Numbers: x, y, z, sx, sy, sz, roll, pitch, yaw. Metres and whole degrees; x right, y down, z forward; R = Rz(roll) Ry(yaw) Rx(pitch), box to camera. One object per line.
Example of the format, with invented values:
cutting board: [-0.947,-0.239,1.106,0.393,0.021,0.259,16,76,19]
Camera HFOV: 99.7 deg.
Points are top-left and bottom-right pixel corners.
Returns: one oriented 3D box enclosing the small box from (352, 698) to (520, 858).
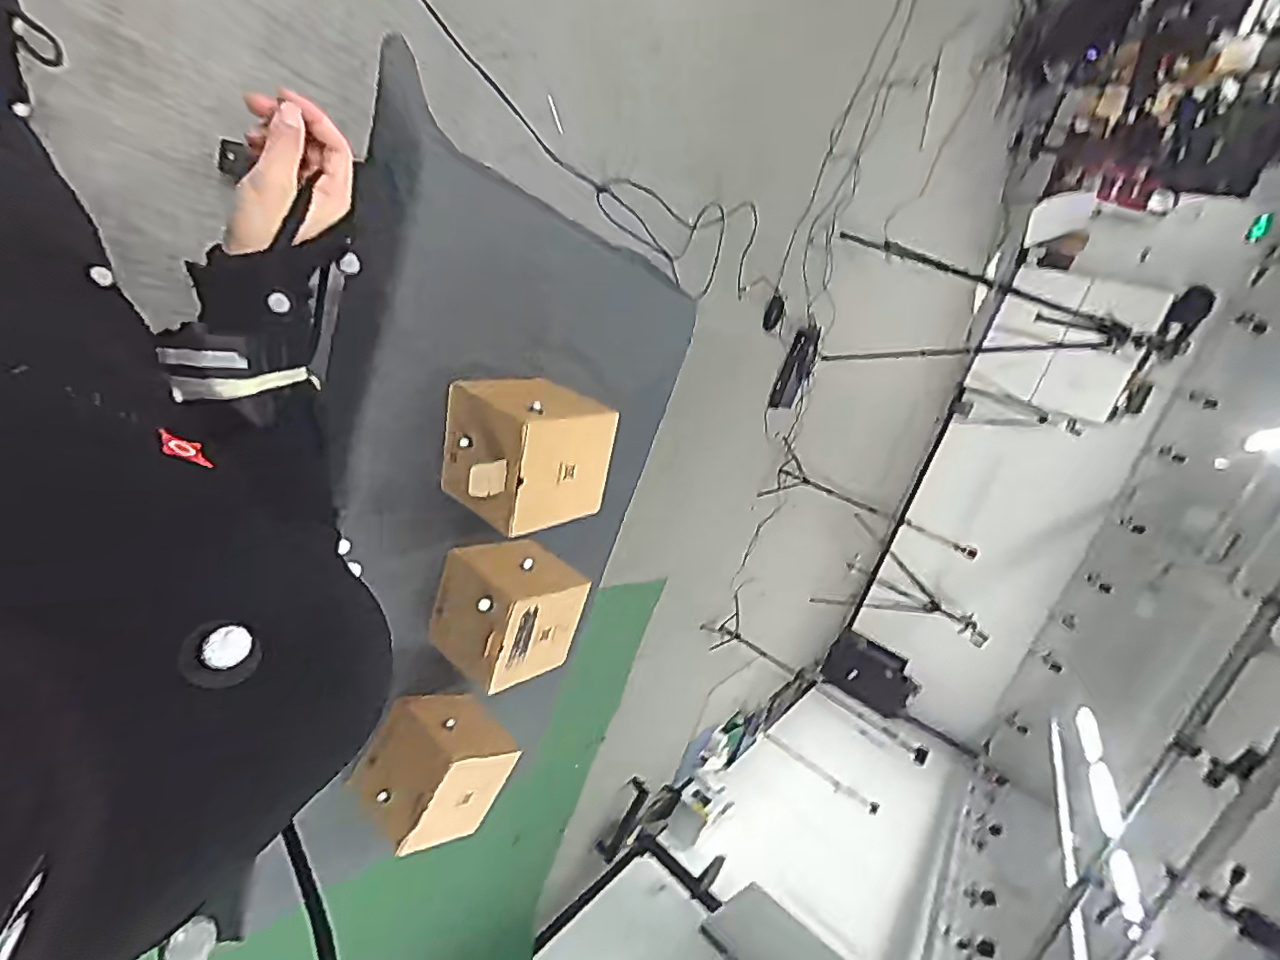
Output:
small box: [-0.352,0.495,0.931,0.168,0.176,0.179,-59,149,-4]

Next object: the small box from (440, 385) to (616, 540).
small box: [-0.166,-0.038,0.800,0.179,0.176,0.168,-15,126,-49]
